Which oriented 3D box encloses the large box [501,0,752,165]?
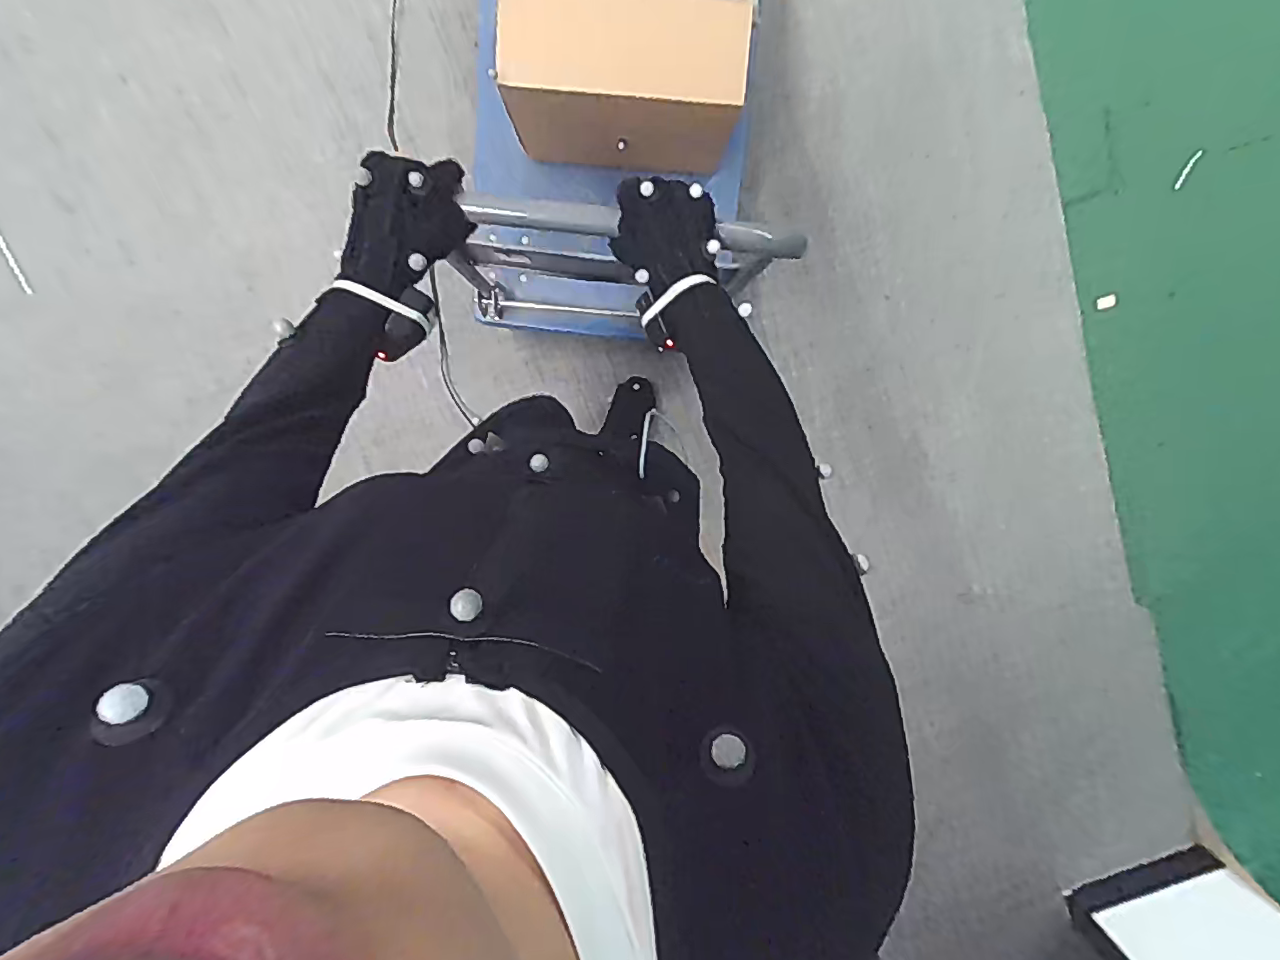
[{"bbox_3d":[-0.021,-0.809,0.998,0.408,0.320,0.320,3,101,-2],"label":"large box"}]
